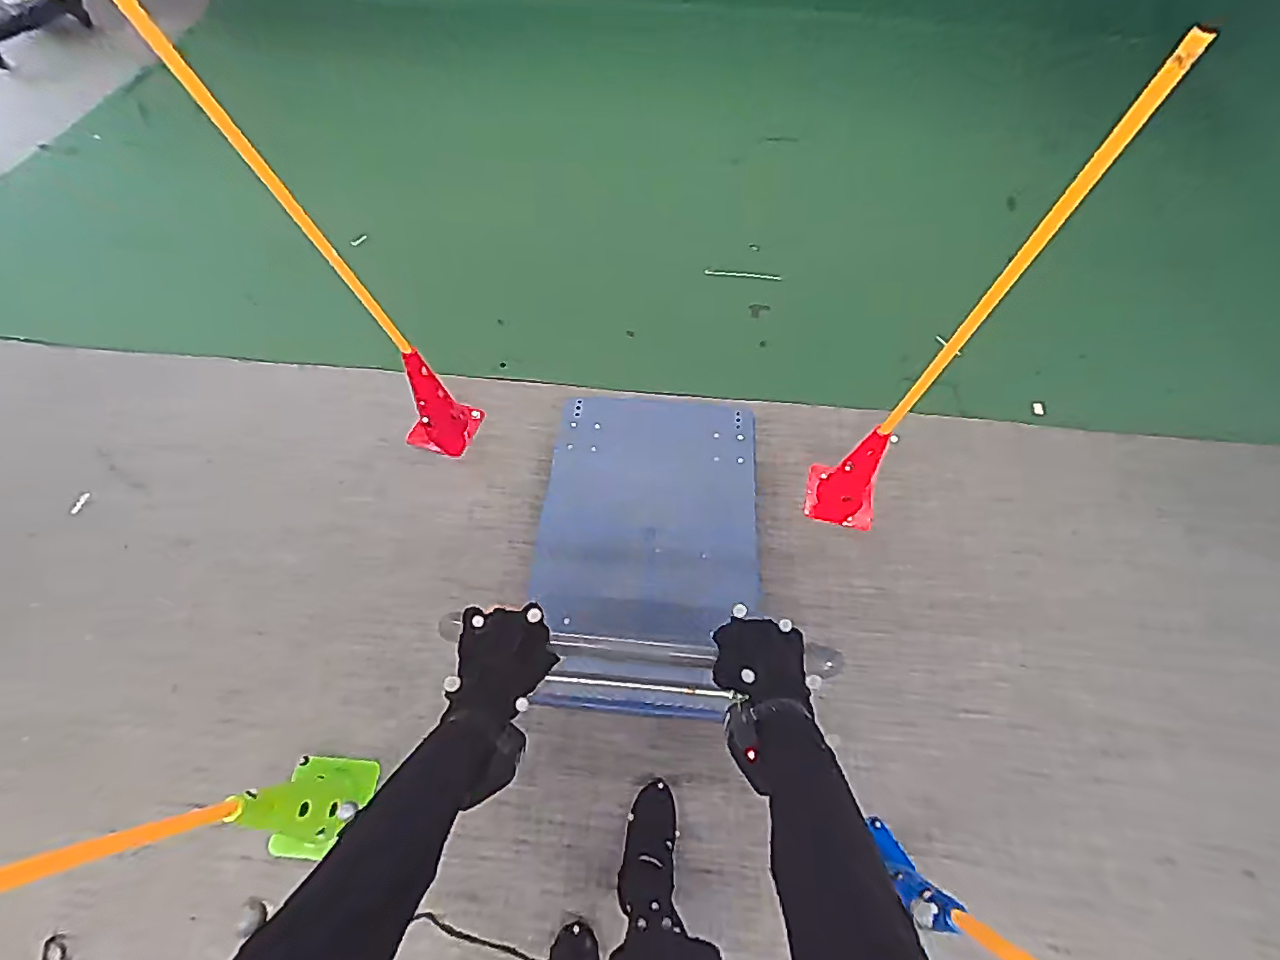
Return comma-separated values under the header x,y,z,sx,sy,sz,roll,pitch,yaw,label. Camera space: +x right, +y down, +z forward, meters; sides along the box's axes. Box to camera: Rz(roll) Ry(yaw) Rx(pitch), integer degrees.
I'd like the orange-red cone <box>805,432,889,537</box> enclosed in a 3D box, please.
x,y,z,sx,sy,sz,roll,pitch,yaw,label
0.622,-0.014,1.534,0.198,0.360,0.199,14,60,8,orange-red cone
